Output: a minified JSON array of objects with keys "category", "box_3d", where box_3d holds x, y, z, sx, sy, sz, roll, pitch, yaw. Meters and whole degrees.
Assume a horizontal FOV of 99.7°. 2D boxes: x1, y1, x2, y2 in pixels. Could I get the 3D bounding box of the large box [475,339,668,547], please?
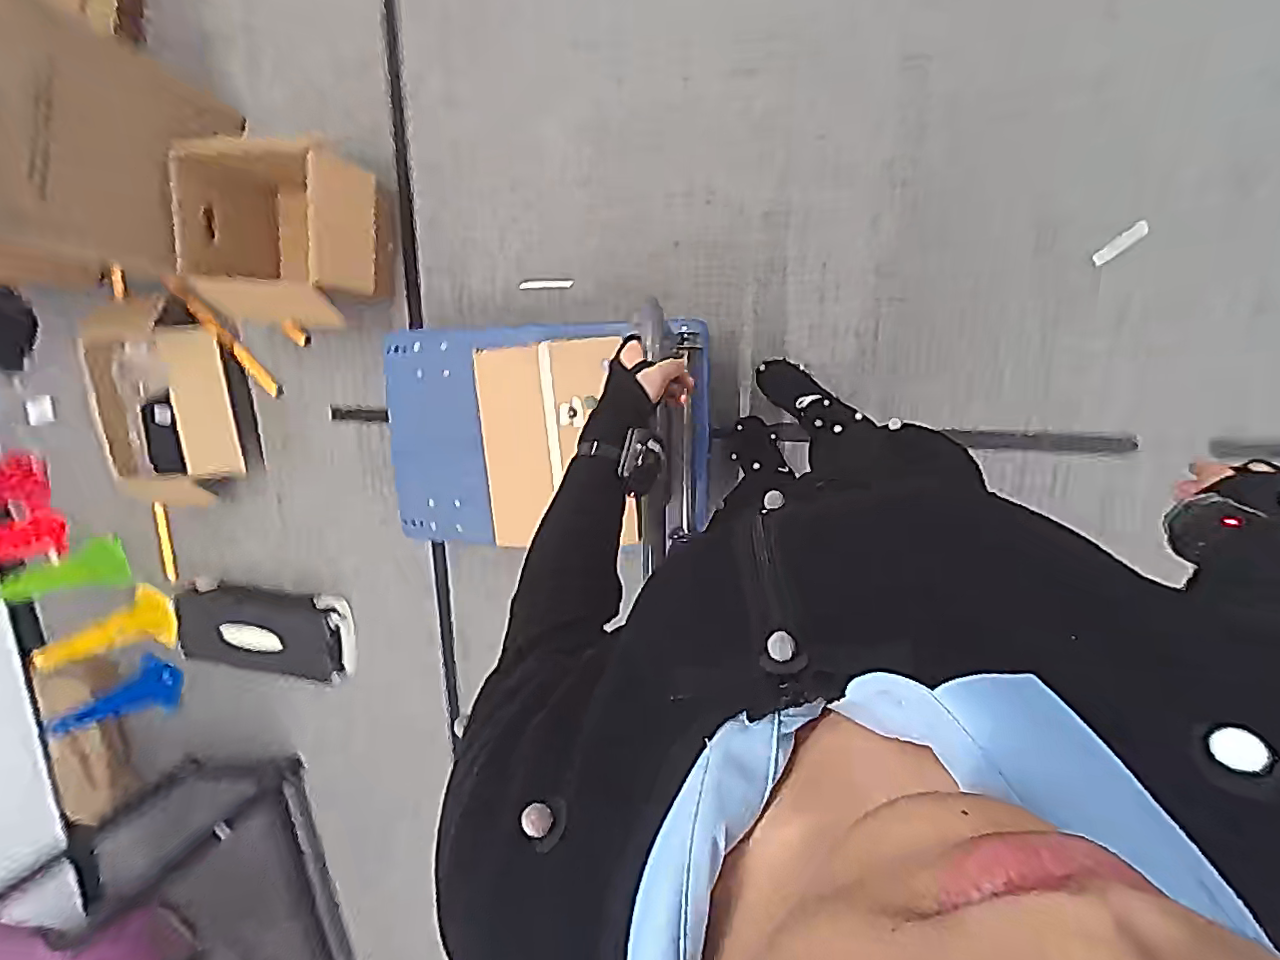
[{"category":"large box","box_3d":[-0.130,-0.085,1.218,0.320,0.320,0.408,-3,99,13]}]
